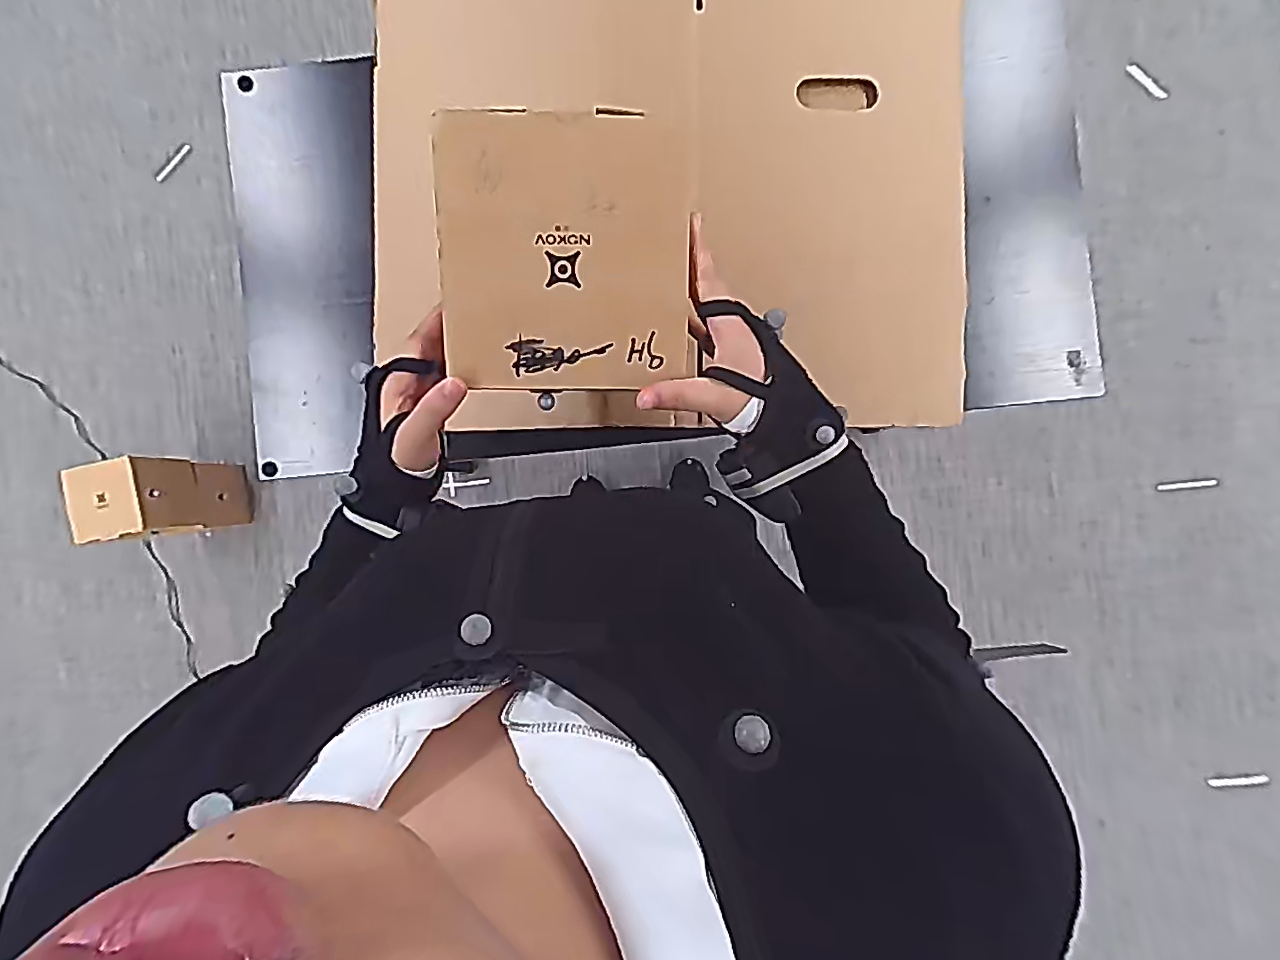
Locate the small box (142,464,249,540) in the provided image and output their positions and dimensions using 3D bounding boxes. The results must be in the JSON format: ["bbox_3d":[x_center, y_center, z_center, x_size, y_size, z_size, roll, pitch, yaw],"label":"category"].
[{"bbox_3d":[-1.204,0.057,1.460,0.168,0.176,0.179,-10,90,2],"label":"small box"}]

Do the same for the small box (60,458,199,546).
[{"bbox_3d":[-1.211,0.050,1.298,0.168,0.176,0.179,-13,88,1],"label":"small box"}]

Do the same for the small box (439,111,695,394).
[{"bbox_3d":[-0.049,-0.160,0.435,0.168,0.176,0.179,0,100,0],"label":"small box"}]
